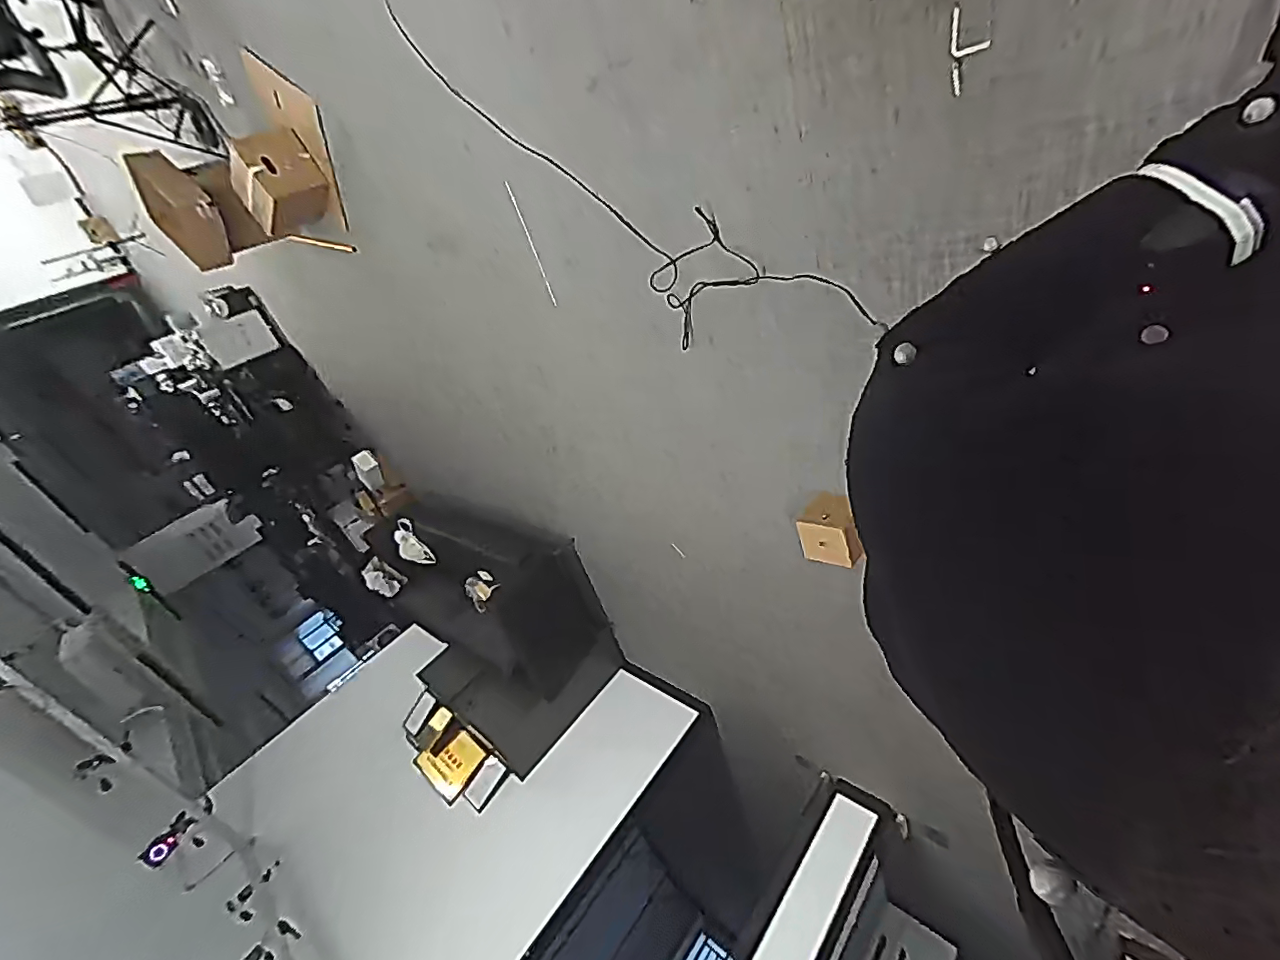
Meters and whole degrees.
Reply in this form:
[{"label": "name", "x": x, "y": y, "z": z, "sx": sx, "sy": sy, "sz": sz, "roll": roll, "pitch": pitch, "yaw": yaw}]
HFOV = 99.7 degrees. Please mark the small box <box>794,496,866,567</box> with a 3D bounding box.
[{"label": "small box", "x": 0.663, "y": 0.171, "z": 1.869, "sx": 0.179, "sy": 0.176, "sz": 0.168, "roll": 10, "pitch": 130, "yaw": 46}]
